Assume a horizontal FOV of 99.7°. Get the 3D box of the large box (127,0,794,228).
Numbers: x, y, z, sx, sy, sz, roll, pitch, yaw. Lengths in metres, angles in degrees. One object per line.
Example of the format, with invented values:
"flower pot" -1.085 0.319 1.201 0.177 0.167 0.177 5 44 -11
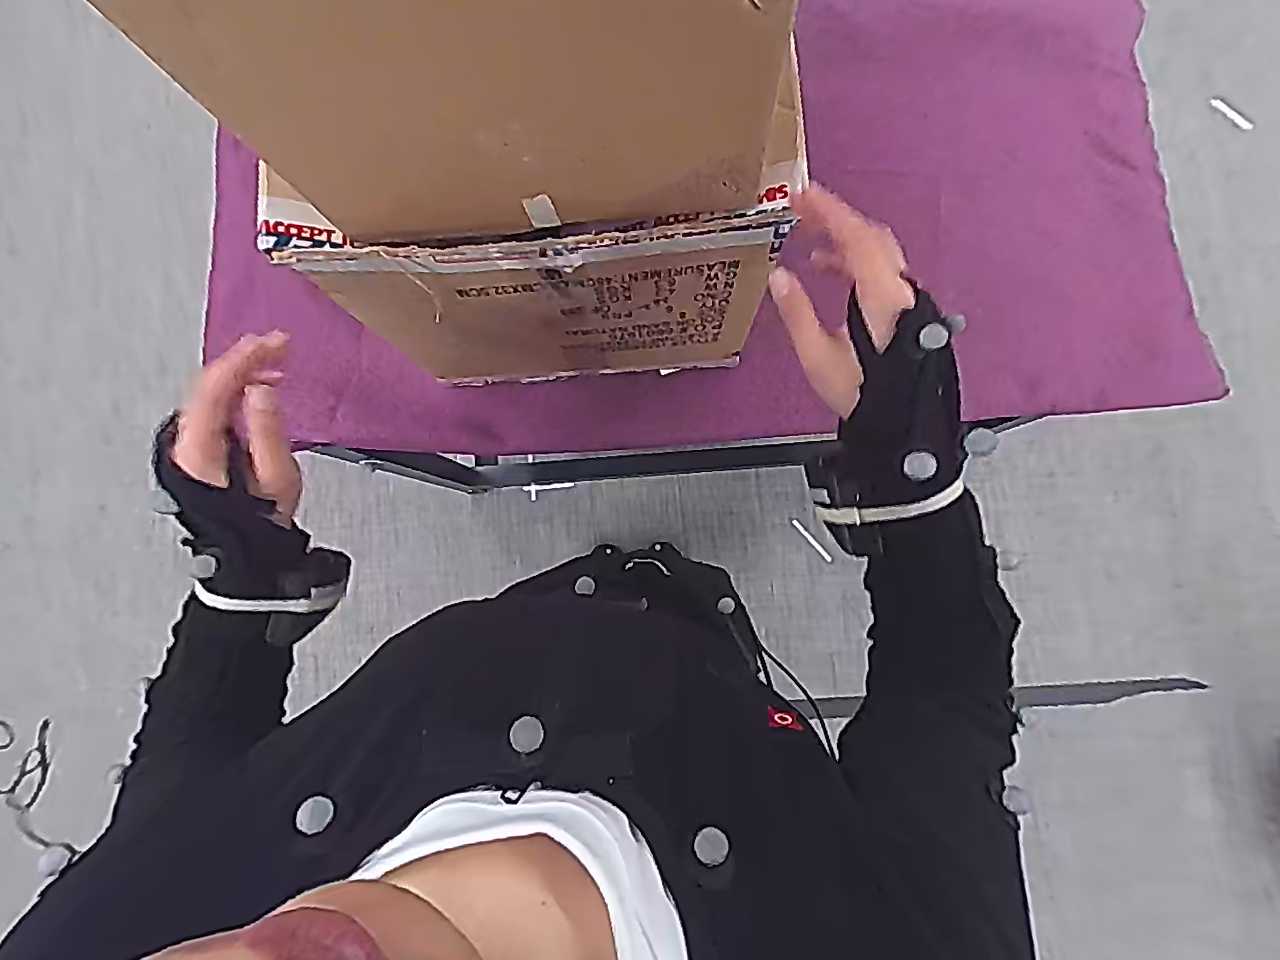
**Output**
"large box" -0.088 -0.412 0.278 0.320 0.320 0.408 -4 83 6
